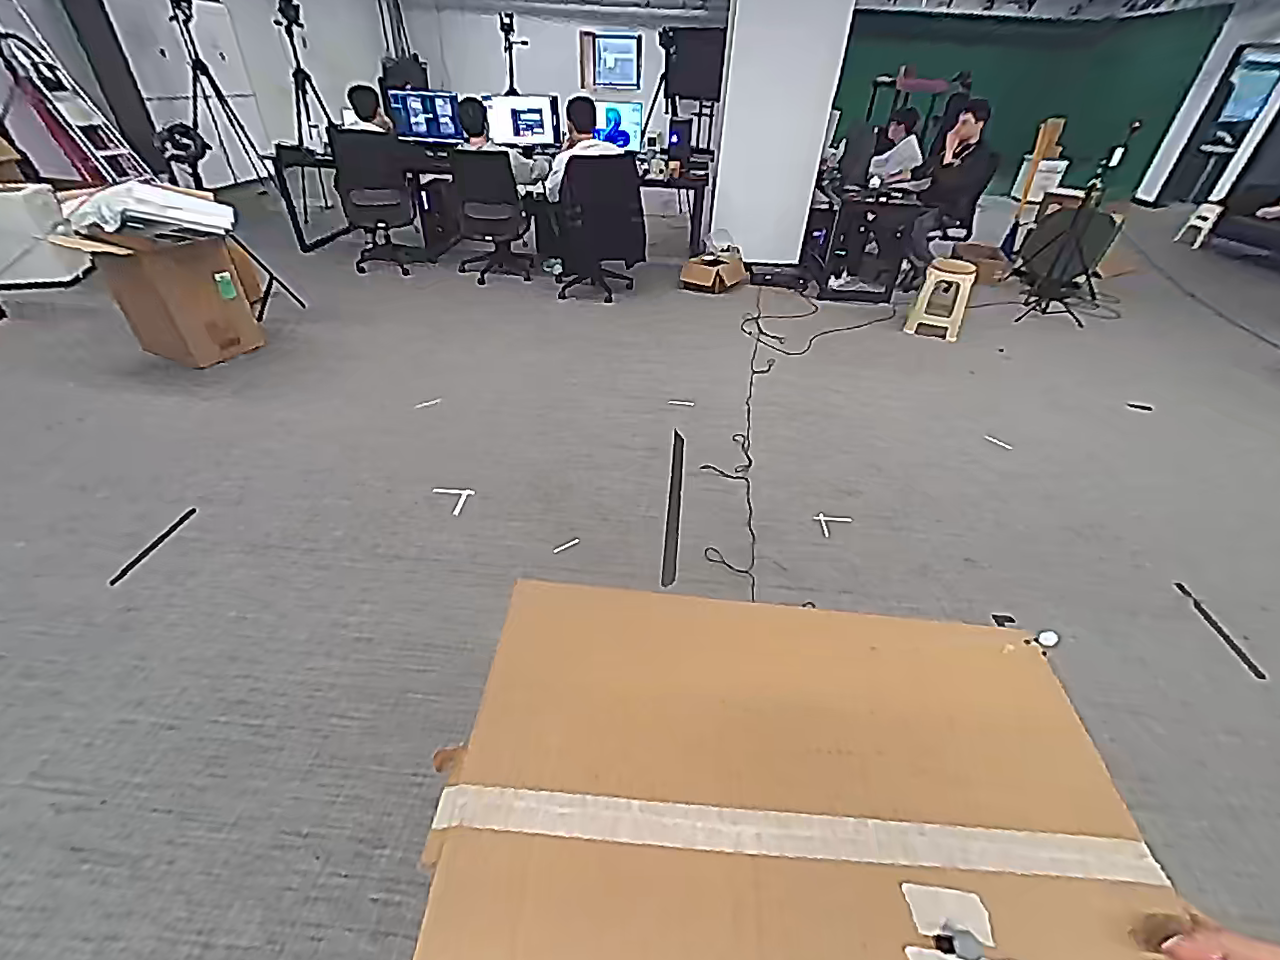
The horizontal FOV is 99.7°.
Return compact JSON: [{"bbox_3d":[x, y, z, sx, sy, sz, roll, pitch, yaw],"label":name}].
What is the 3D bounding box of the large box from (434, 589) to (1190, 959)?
[{"bbox_3d":[0.082,0.315,0.418,0.408,0.320,0.320,7,44,-2],"label":"large box"}]
